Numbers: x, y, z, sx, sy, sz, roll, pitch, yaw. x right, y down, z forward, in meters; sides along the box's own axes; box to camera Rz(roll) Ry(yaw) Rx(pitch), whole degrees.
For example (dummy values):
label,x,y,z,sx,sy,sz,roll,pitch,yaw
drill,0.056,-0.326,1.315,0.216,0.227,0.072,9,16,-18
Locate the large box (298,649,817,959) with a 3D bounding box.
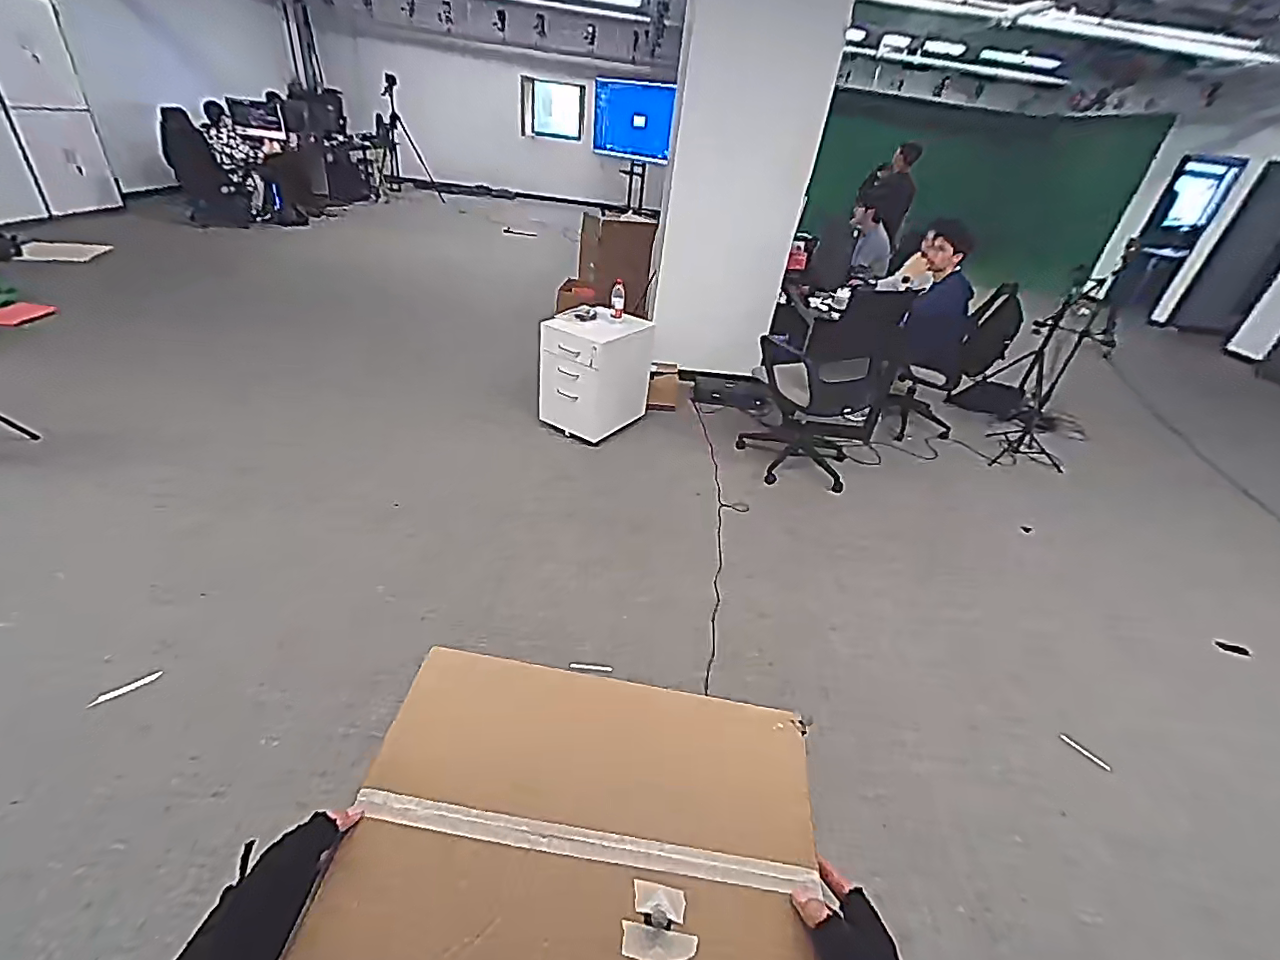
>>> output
label,x,y,z,sx,sy,sz,roll,pitch,yaw
large box,-0.065,0.429,0.579,0.408,0.320,0.320,11,40,1
